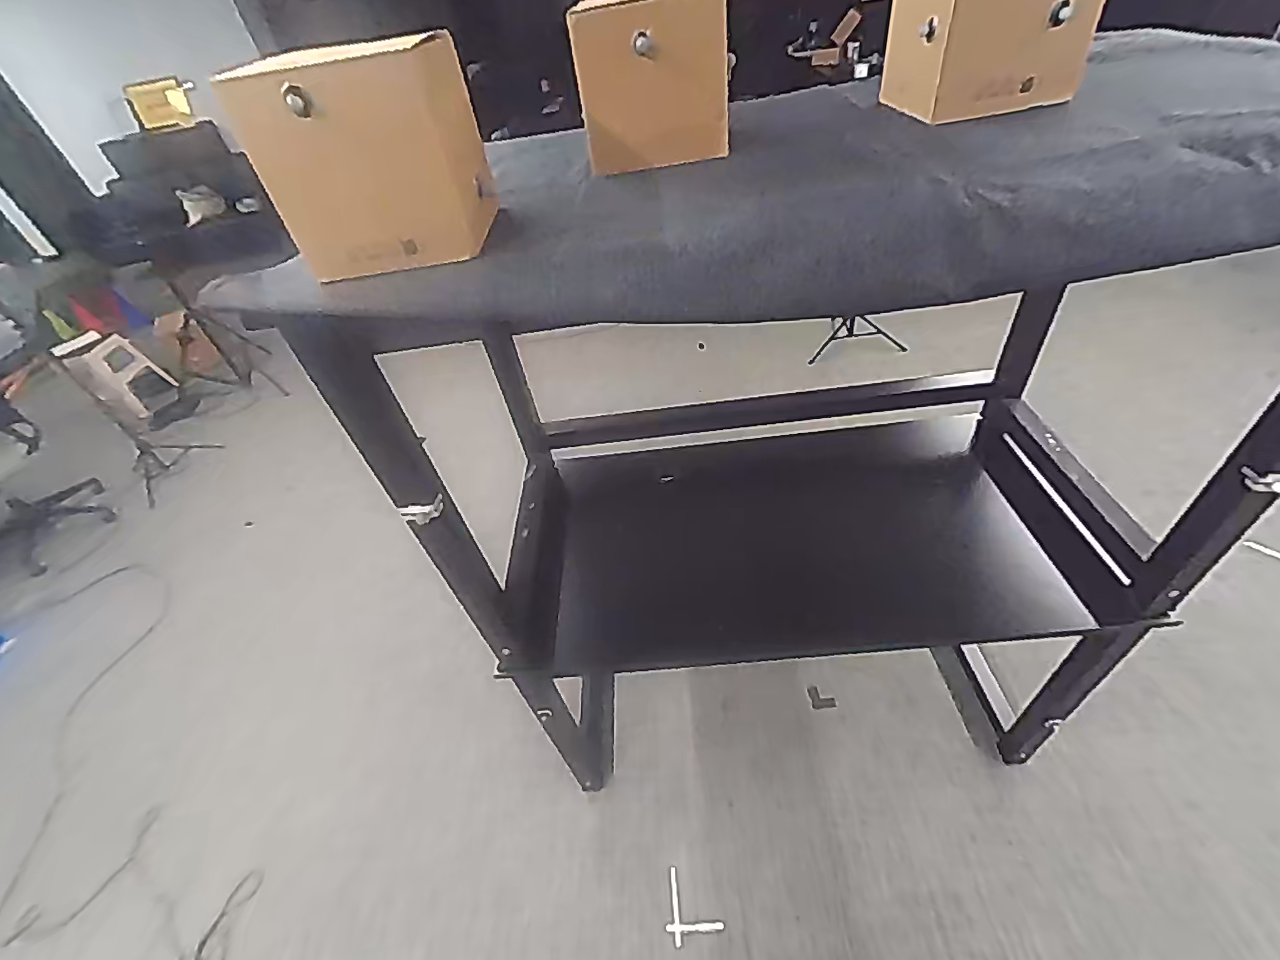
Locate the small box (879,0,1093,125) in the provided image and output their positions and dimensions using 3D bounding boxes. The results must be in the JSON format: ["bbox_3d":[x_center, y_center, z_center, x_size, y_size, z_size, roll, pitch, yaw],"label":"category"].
[{"bbox_3d":[0.413,-0.550,0.656,0.168,0.176,0.179,-7,43,3],"label":"small box"}]

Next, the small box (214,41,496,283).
[{"bbox_3d":[-0.254,-0.317,0.541,0.168,0.176,0.179,-8,42,3],"label":"small box"}]

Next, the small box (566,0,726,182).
[{"bbox_3d":[0.016,-0.505,0.692,0.179,0.176,0.168,-6,43,6],"label":"small box"}]
